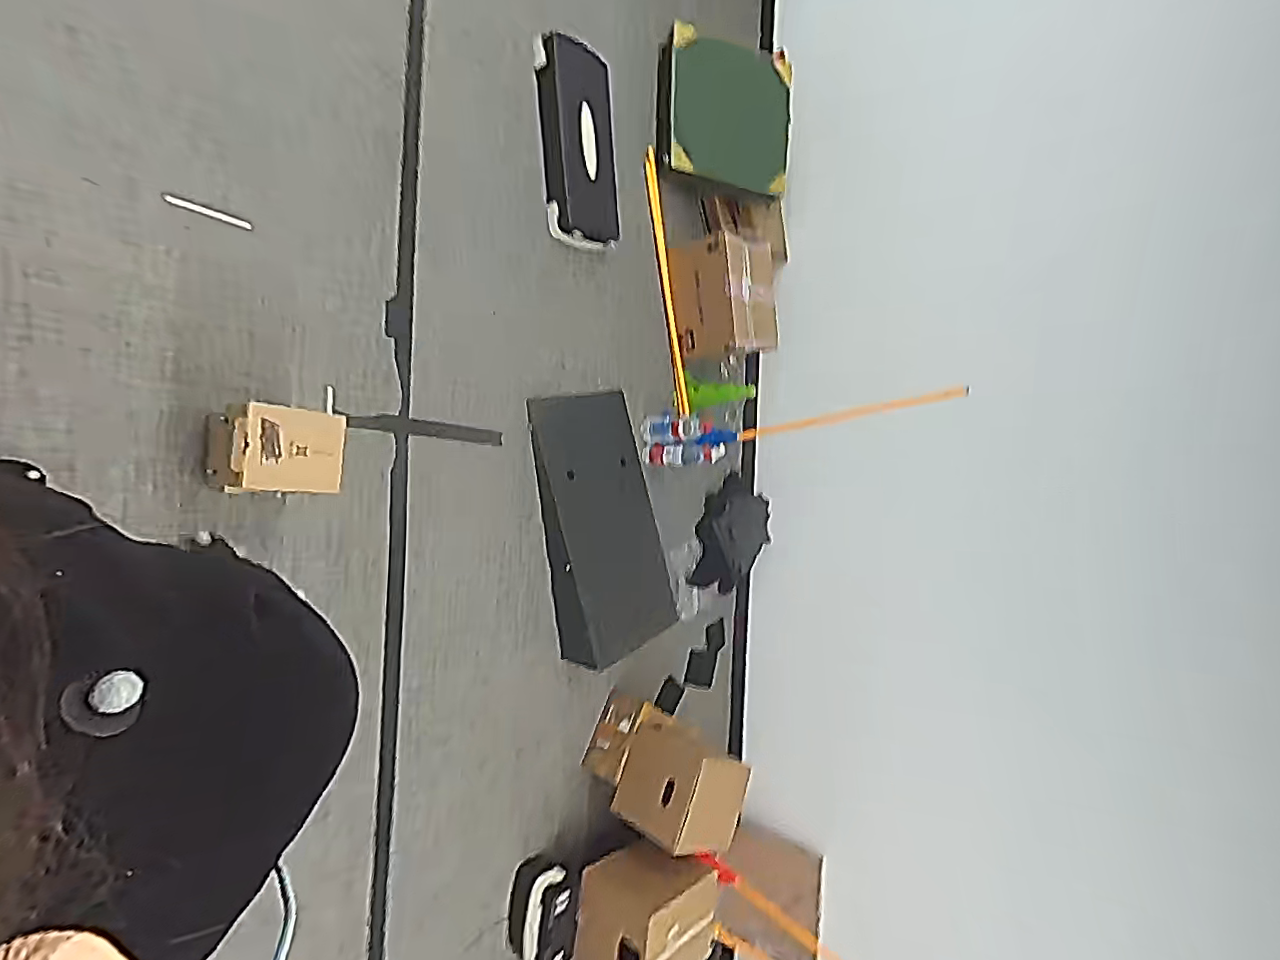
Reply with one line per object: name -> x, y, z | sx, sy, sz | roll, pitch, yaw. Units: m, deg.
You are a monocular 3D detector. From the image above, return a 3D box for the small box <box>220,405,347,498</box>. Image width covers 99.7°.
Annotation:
small box -> -0.734, -0.053, 1.112 | 0.179, 0.176, 0.168 | 7, 87, -51

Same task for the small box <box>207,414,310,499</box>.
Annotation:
small box -> -0.857, -0.049, 1.221 | 0.168, 0.176, 0.179 | 3, 89, -49
